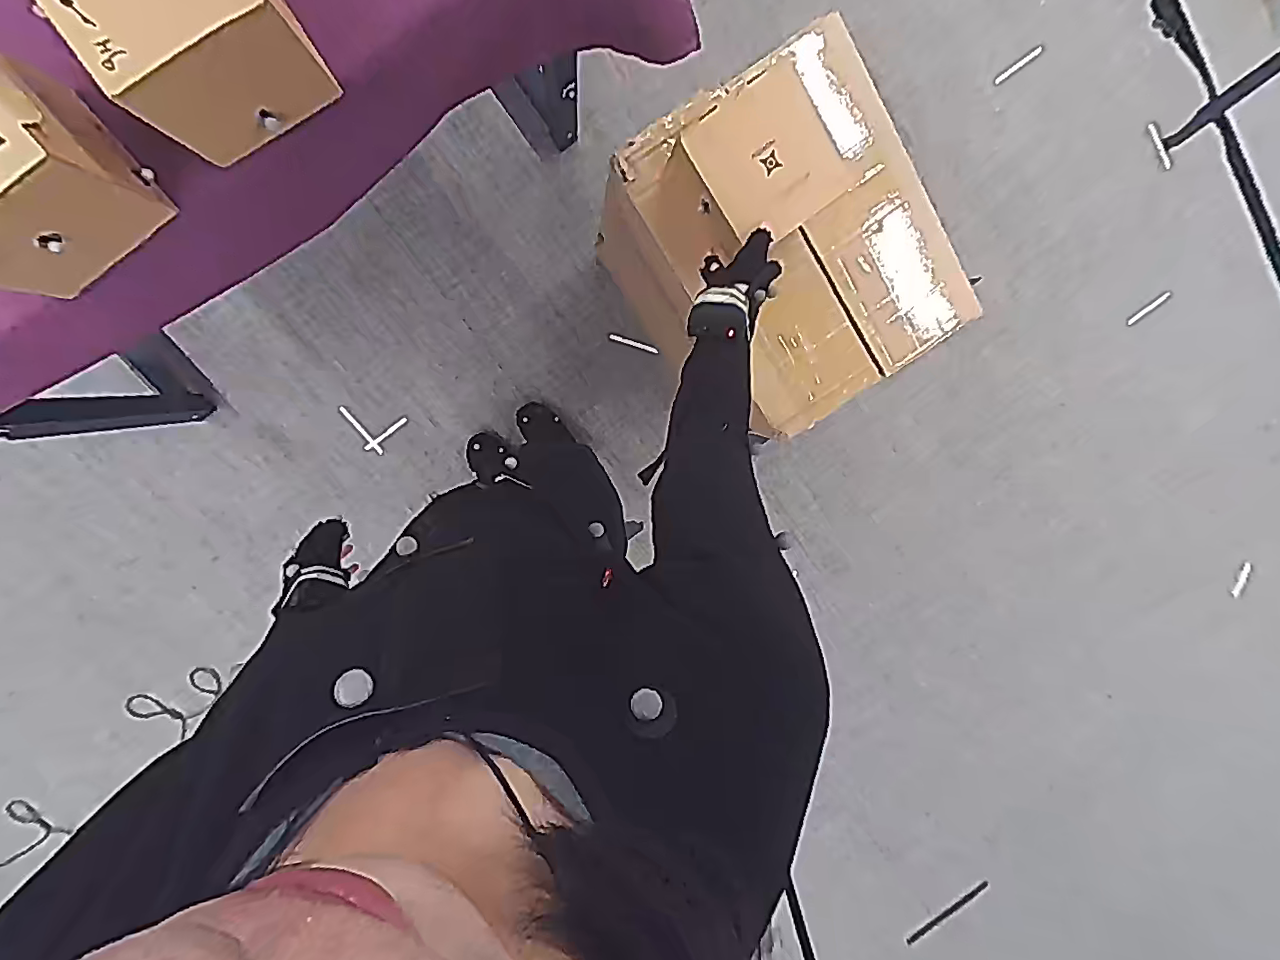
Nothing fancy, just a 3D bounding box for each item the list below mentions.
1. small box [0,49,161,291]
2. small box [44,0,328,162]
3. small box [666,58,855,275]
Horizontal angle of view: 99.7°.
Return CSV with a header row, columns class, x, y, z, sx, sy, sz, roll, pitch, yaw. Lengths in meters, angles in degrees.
class,x,y,z,sx,sy,sz,roll,pitch,yaw
small box,-0.661,-0.325,0.559,0.179,0.176,0.168,-37,101,1
small box,-0.461,-0.477,0.559,0.179,0.176,0.168,-32,101,-2
small box,0.153,-0.414,0.751,0.168,0.176,0.179,-36,103,3
